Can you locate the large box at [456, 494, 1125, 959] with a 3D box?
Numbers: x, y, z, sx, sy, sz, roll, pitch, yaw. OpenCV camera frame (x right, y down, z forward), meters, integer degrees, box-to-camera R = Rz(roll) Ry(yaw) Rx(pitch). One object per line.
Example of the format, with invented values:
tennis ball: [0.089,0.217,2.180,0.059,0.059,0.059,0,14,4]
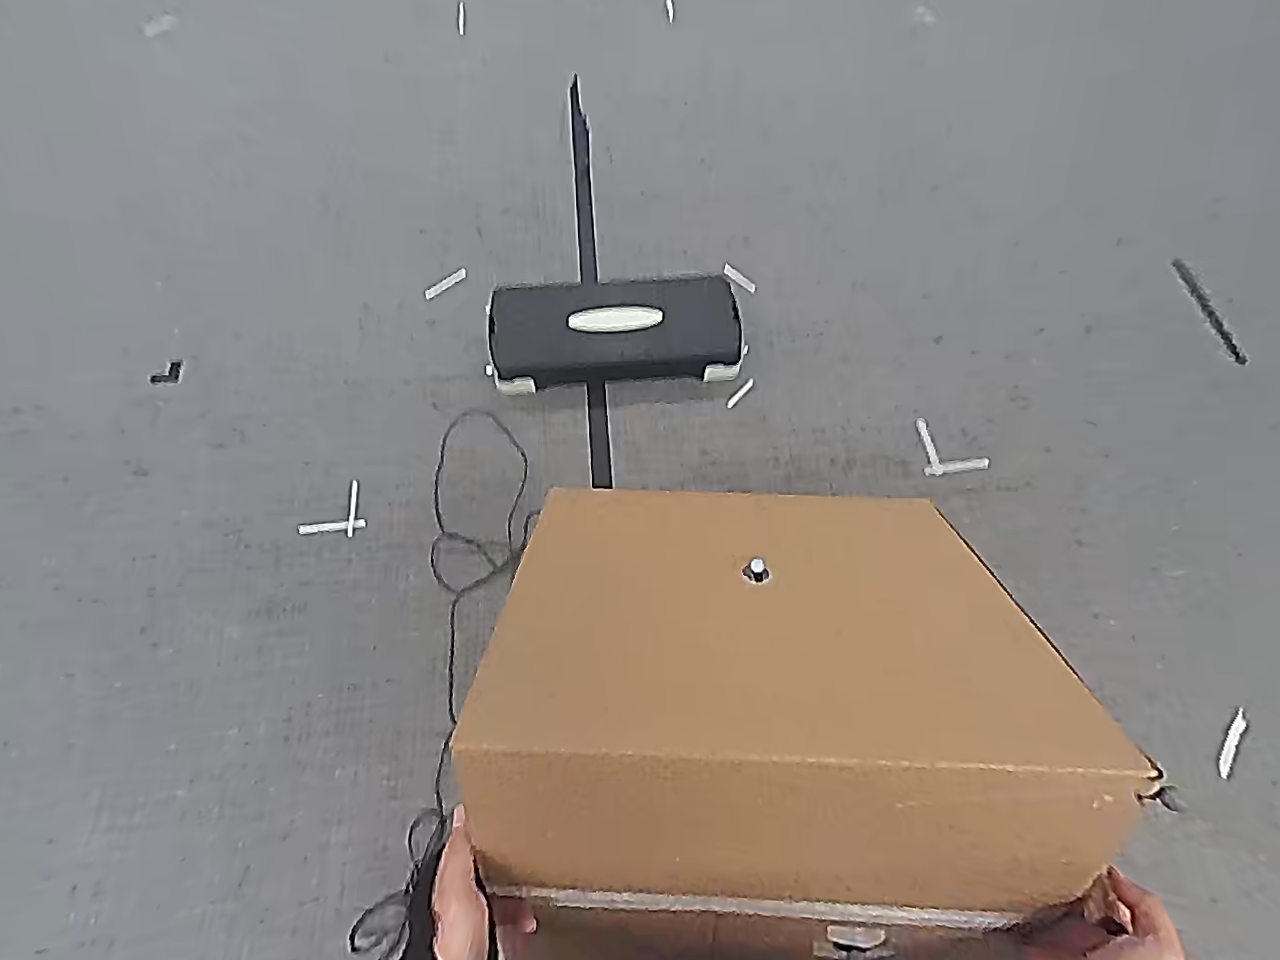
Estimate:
large box: [0.090,0.217,0.519,0.408,0.320,0.320,1,28,2]
